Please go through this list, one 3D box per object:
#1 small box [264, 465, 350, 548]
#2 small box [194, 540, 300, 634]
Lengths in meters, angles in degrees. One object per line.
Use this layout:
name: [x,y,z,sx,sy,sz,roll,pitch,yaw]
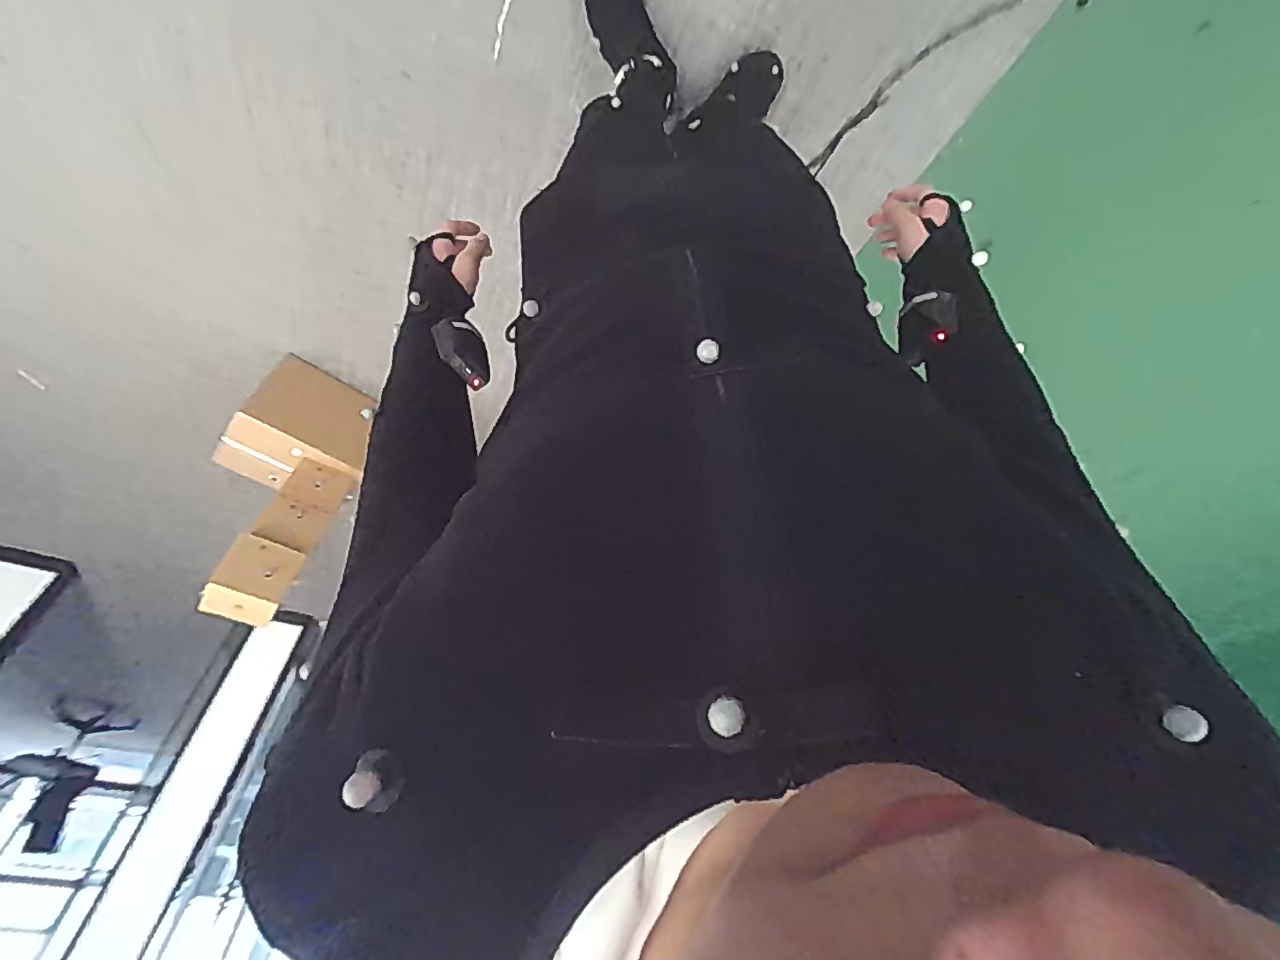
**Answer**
small box: [-1.055,0.081,1.723,0.168,0.176,0.179,28,131,-23]
small box: [-1.060,0.288,1.467,0.168,0.176,0.179,30,130,-25]
